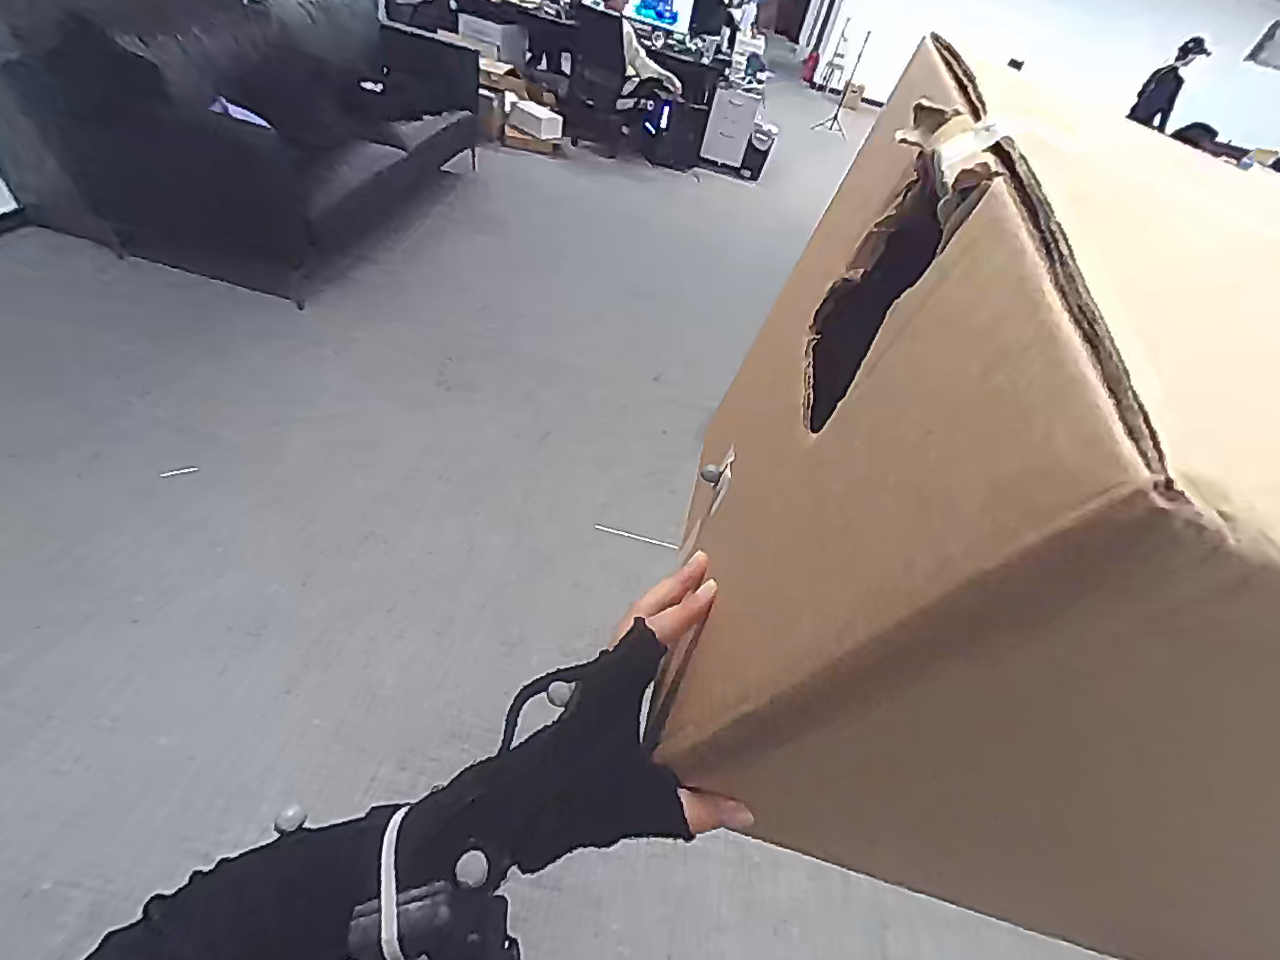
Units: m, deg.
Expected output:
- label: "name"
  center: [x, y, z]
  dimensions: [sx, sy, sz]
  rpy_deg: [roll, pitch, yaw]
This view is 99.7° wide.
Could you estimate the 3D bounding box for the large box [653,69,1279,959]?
- label: "large box"
  center: [0.260, 0.050, 0.316]
  dimensions: [0.408, 0.320, 0.320]
  rpy_deg: [21, 51, -5]
